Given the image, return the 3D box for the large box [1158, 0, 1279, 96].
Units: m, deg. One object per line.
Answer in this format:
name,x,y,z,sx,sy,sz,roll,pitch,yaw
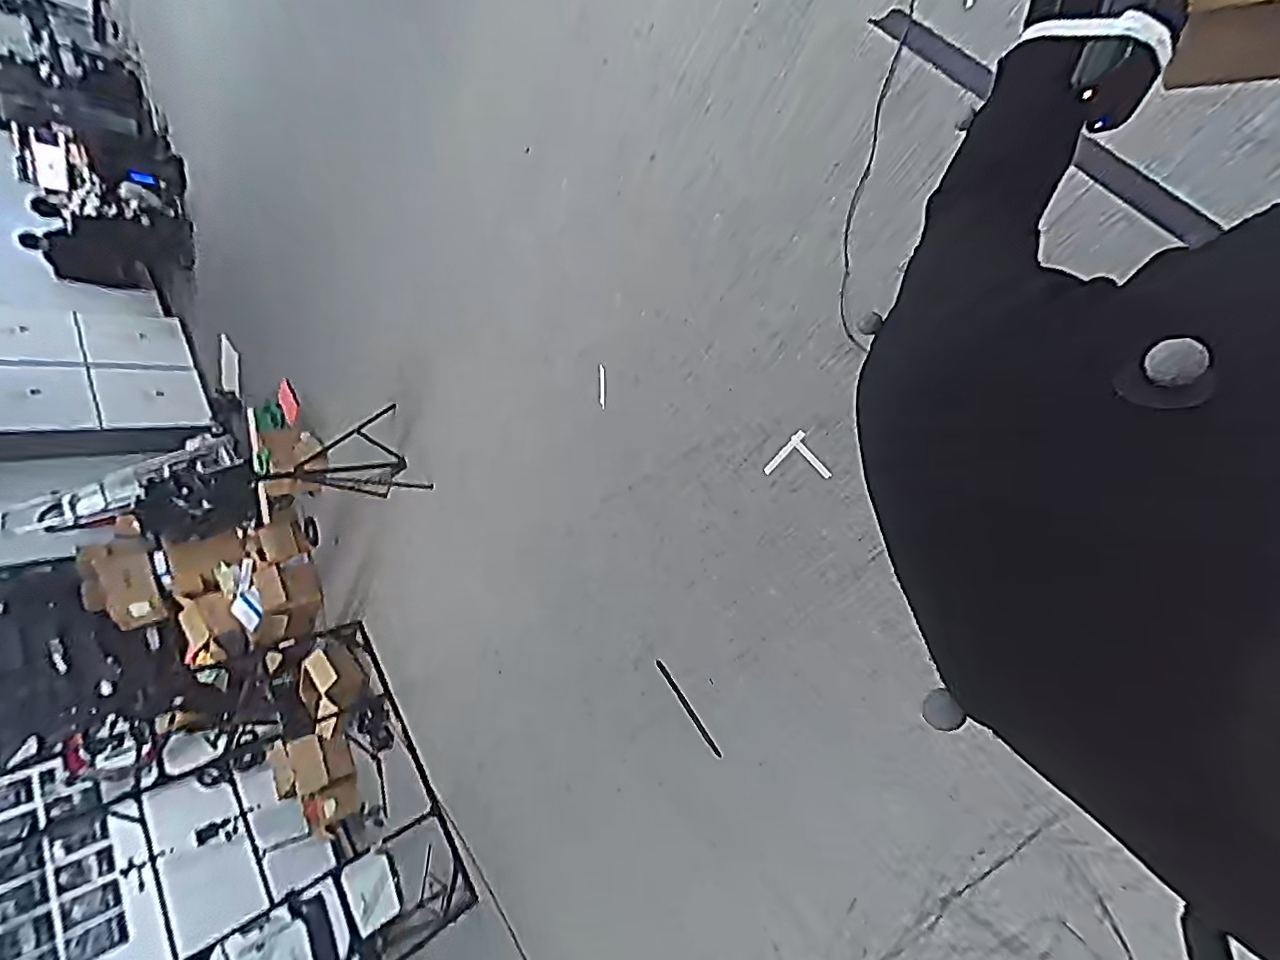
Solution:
large box,0.609,-0.453,0.302,0.408,0.320,0.320,21,123,37
